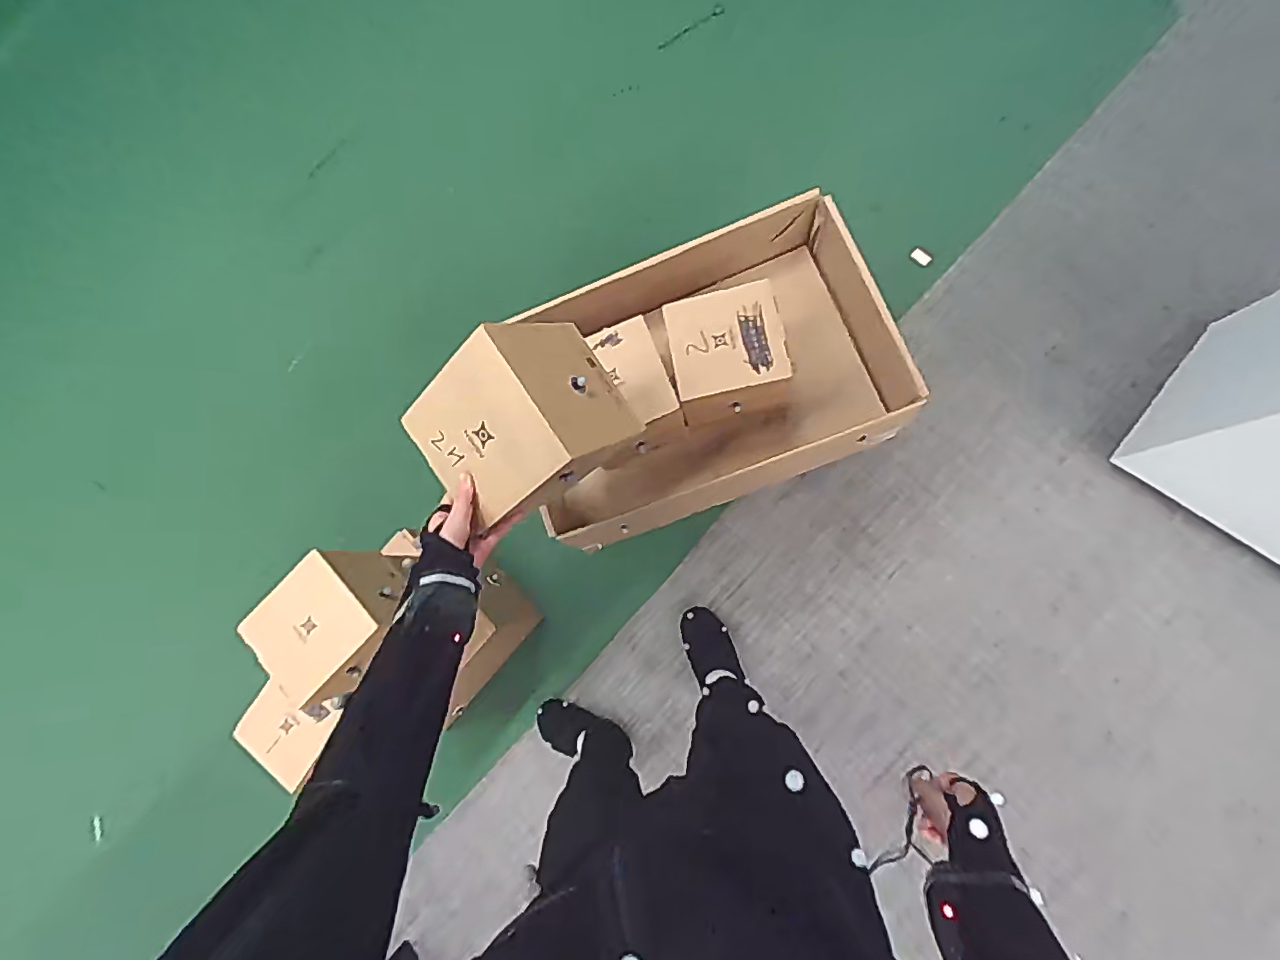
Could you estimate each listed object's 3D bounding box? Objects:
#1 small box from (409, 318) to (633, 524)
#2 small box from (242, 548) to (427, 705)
[{"bbox_3d":[-0.130,-0.077,0.653,0.179,0.176,0.168,-35,87,30],"label":"small box"},{"bbox_3d":[-0.482,0.227,0.888,0.168,0.176,0.179,44,91,12],"label":"small box"}]
